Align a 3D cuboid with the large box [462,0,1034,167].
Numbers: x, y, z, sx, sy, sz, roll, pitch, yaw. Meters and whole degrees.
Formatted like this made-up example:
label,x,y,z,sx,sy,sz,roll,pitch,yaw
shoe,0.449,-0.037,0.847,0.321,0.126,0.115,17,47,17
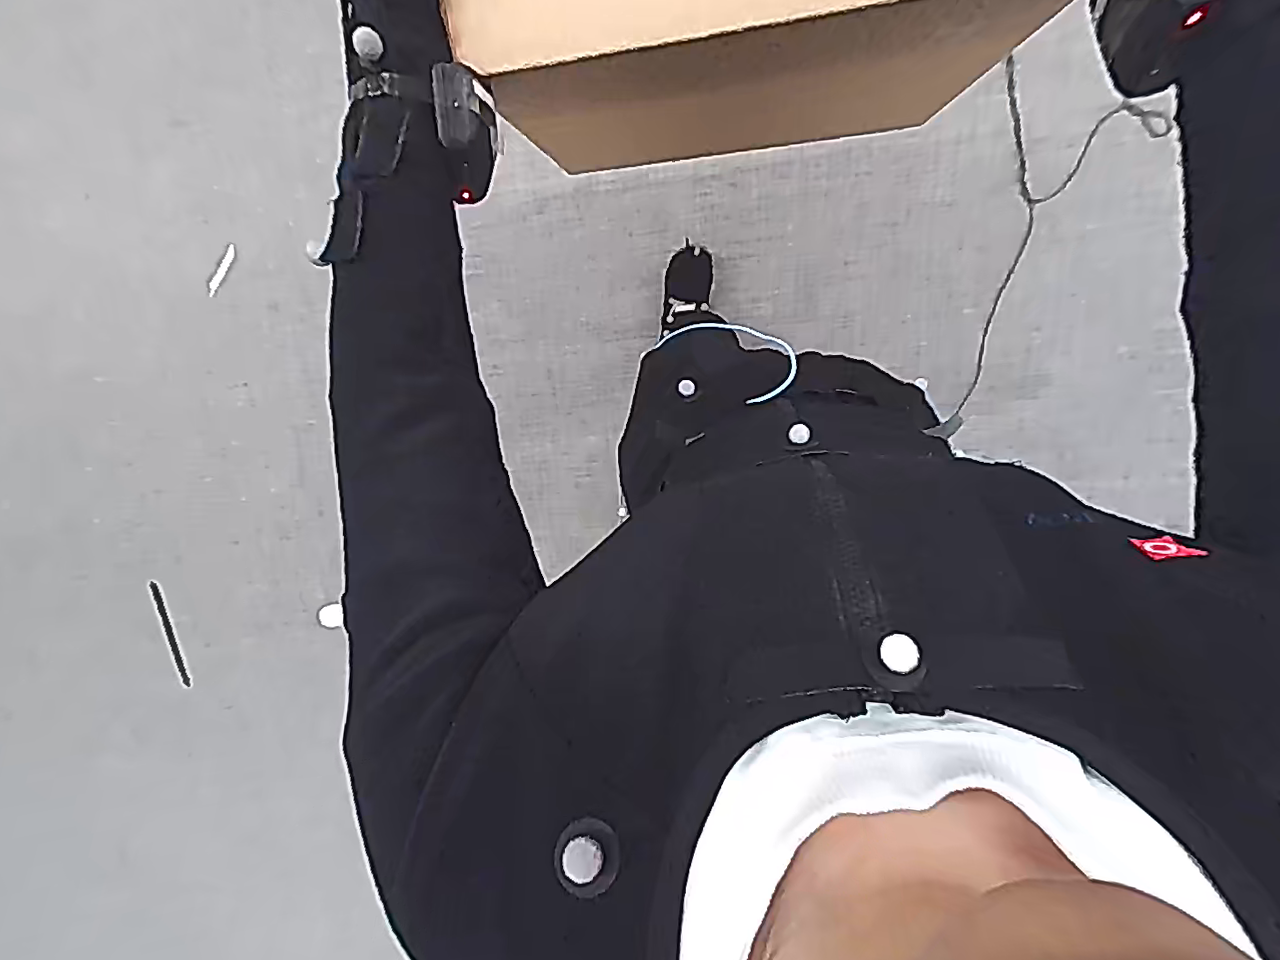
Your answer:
label,x,y,z,sx,sy,sz,roll,pitch,yaw
large box,0.078,-0.487,0.438,0.408,0.320,0.320,-4,108,8
